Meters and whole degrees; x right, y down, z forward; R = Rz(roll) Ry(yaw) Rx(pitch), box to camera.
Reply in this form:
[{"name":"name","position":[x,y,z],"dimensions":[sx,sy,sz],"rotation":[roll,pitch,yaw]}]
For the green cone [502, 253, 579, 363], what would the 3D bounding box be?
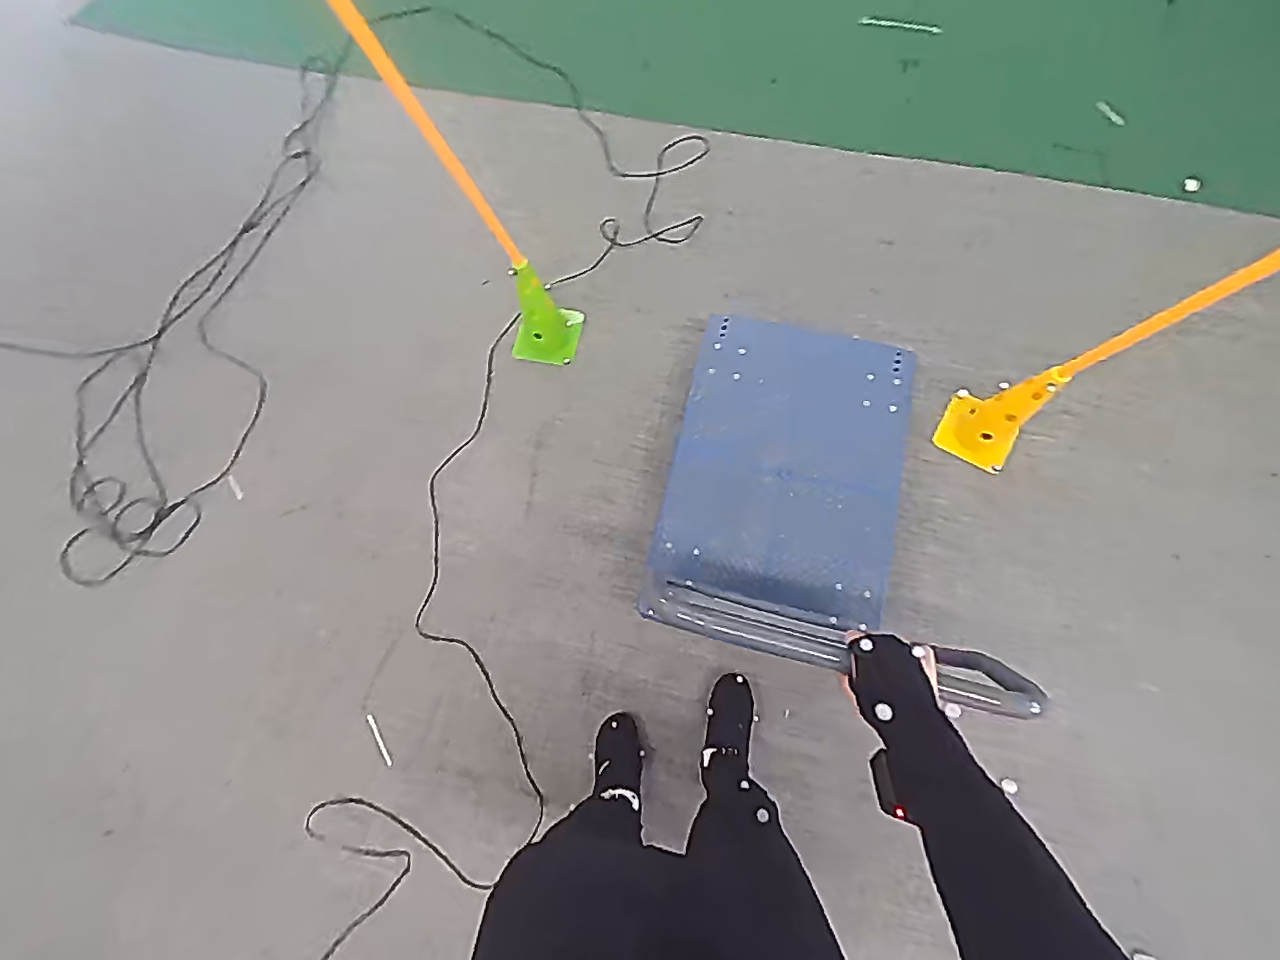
[{"name":"green cone","position":[-0.319,-0.522,1.573],"dimensions":[0.202,0.368,0.200],"rotation":[8,73,7]}]
